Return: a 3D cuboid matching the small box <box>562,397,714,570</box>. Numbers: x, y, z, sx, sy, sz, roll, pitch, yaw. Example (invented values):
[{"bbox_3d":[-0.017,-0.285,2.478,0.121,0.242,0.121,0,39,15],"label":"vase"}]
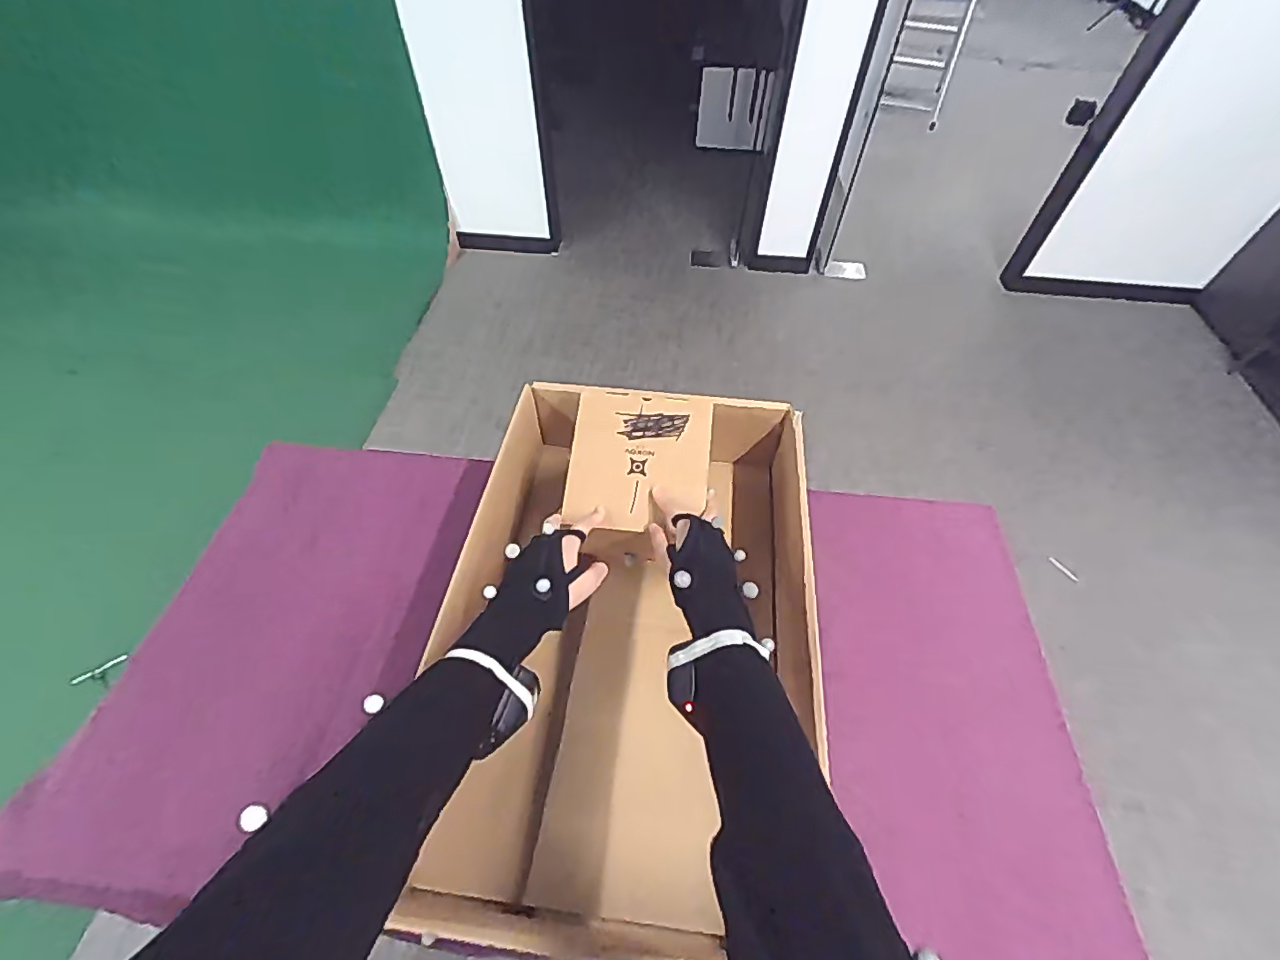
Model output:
[{"bbox_3d":[0.002,0.012,0.712,0.168,0.176,0.179,5,71,4],"label":"small box"}]
